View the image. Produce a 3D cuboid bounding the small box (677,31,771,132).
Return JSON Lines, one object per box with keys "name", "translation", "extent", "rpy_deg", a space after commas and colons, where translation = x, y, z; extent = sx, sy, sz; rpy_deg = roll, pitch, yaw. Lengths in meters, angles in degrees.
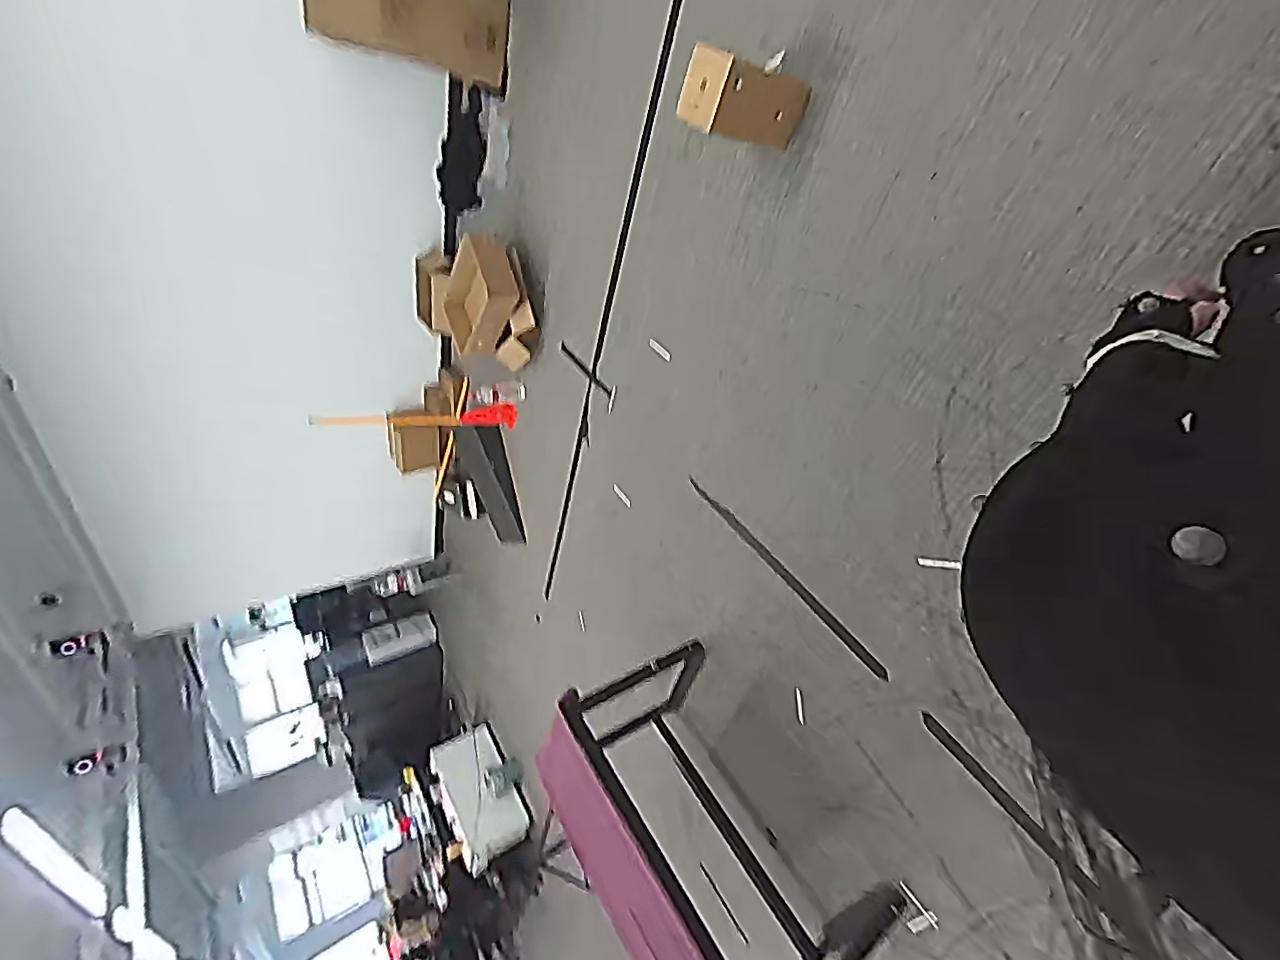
{"name": "small box", "translation": [0.237, -1.104, 1.504], "extent": [0.168, 0.176, 0.179], "rpy_deg": [52, 139, 31]}
